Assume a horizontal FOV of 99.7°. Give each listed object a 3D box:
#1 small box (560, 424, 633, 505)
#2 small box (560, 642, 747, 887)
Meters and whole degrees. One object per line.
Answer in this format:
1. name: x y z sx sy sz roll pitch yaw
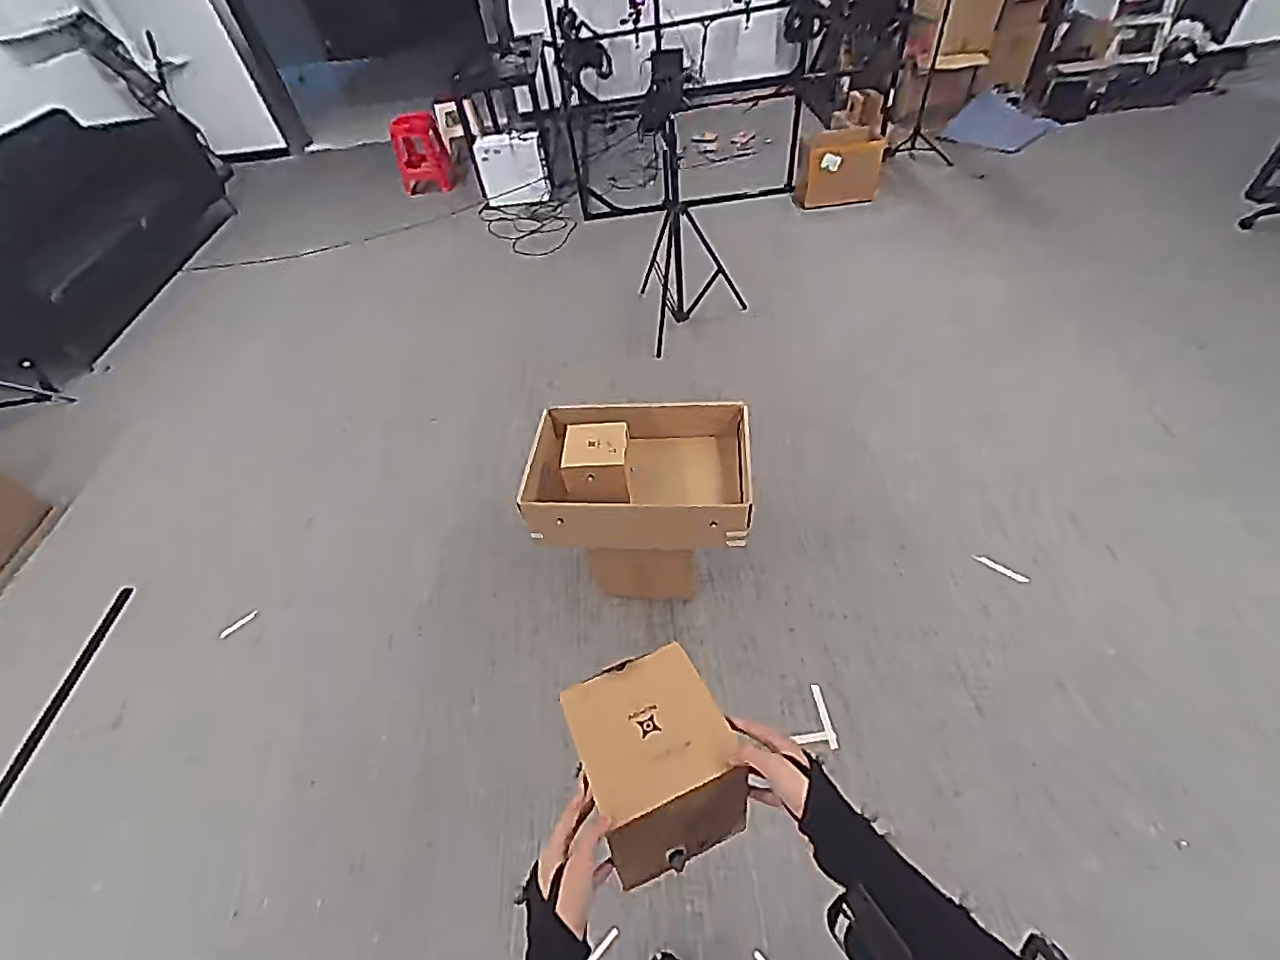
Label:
1. small box: -0.119 -0.042 1.550 0.179 0.176 0.168 -2 49 5
2. small box: 0.014 0.341 0.660 0.168 0.176 0.179 -18 36 -15
